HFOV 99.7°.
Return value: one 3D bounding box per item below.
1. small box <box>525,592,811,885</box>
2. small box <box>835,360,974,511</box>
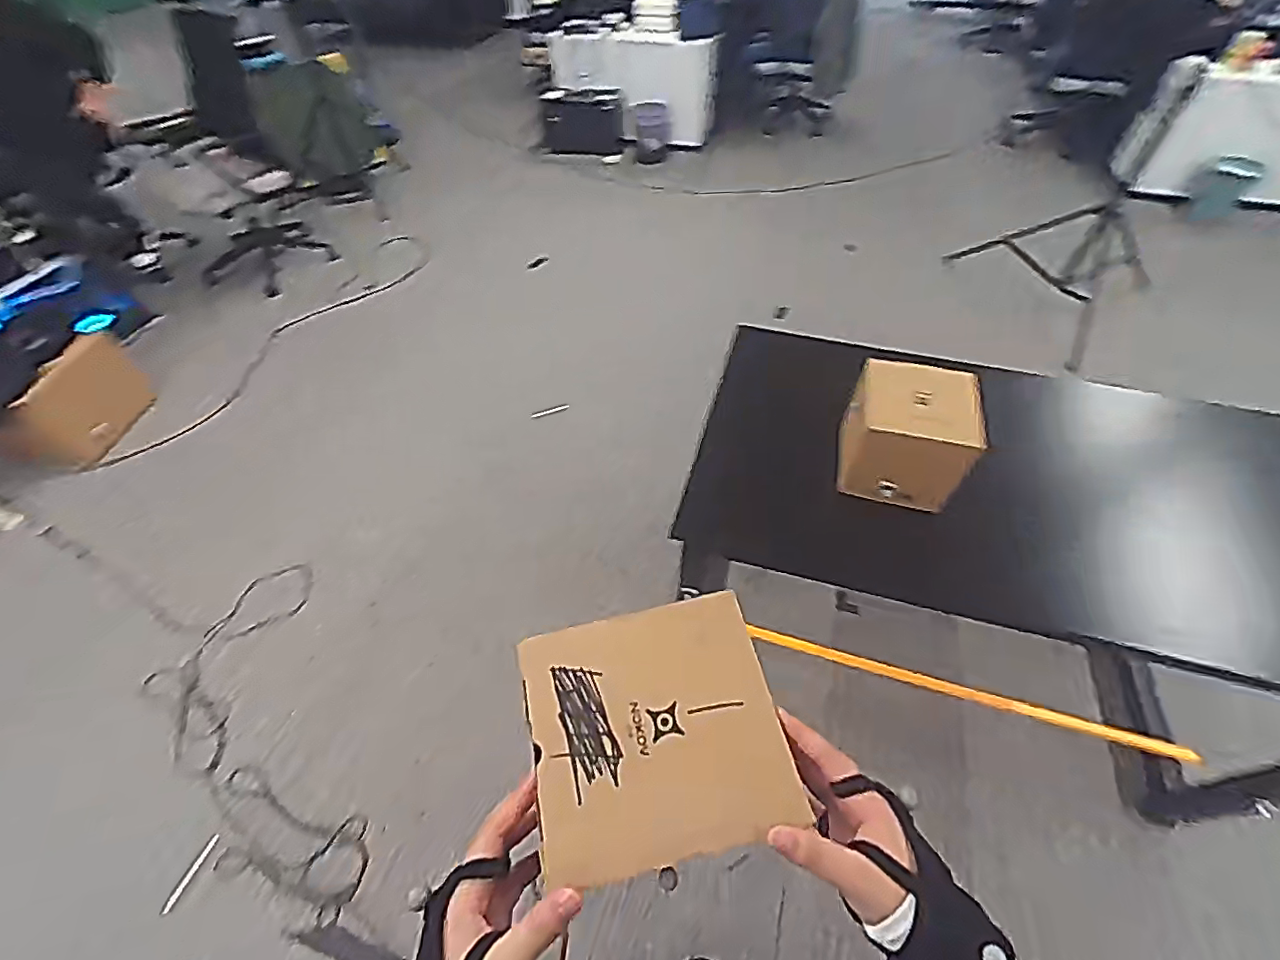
[{"bbox_3d":[0.014,0.216,0.449,0.179,0.176,0.168,-11,56,-6],"label":"small box"},{"bbox_3d":[0.436,-0.075,0.919,0.168,0.176,0.179,10,52,11],"label":"small box"}]
